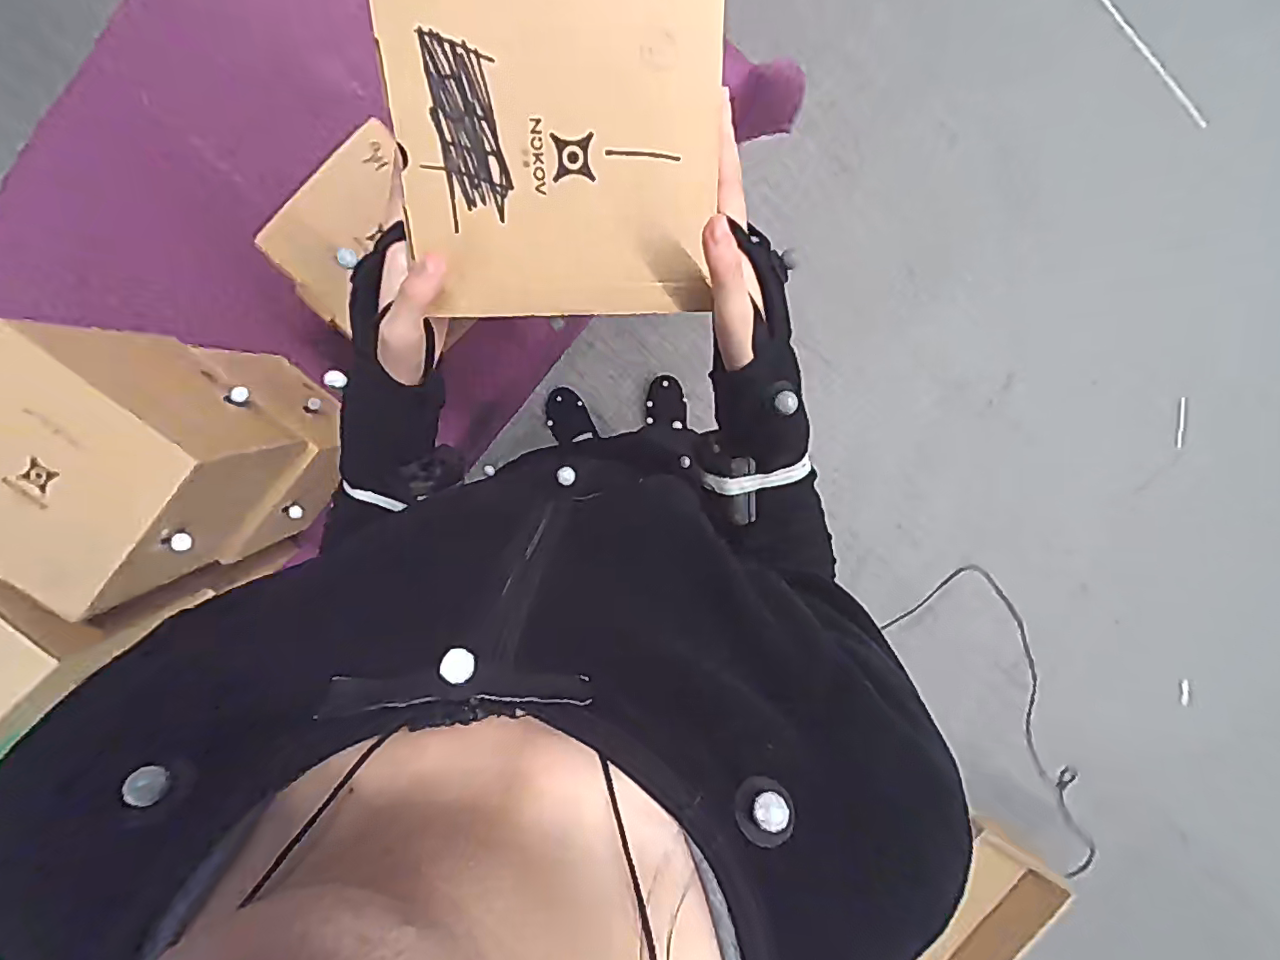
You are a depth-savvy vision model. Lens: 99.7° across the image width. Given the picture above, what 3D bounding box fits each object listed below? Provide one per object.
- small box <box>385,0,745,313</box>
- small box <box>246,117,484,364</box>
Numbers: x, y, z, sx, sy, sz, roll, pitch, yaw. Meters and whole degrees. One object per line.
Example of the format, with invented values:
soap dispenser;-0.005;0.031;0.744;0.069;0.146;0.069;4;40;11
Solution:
small box;-0.039;-0.202;0.358;0.179;0.176;0.168;0;112;-3
small box;-0.276;-0.247;0.615;0.179;0.176;0.168;-42;101;4
